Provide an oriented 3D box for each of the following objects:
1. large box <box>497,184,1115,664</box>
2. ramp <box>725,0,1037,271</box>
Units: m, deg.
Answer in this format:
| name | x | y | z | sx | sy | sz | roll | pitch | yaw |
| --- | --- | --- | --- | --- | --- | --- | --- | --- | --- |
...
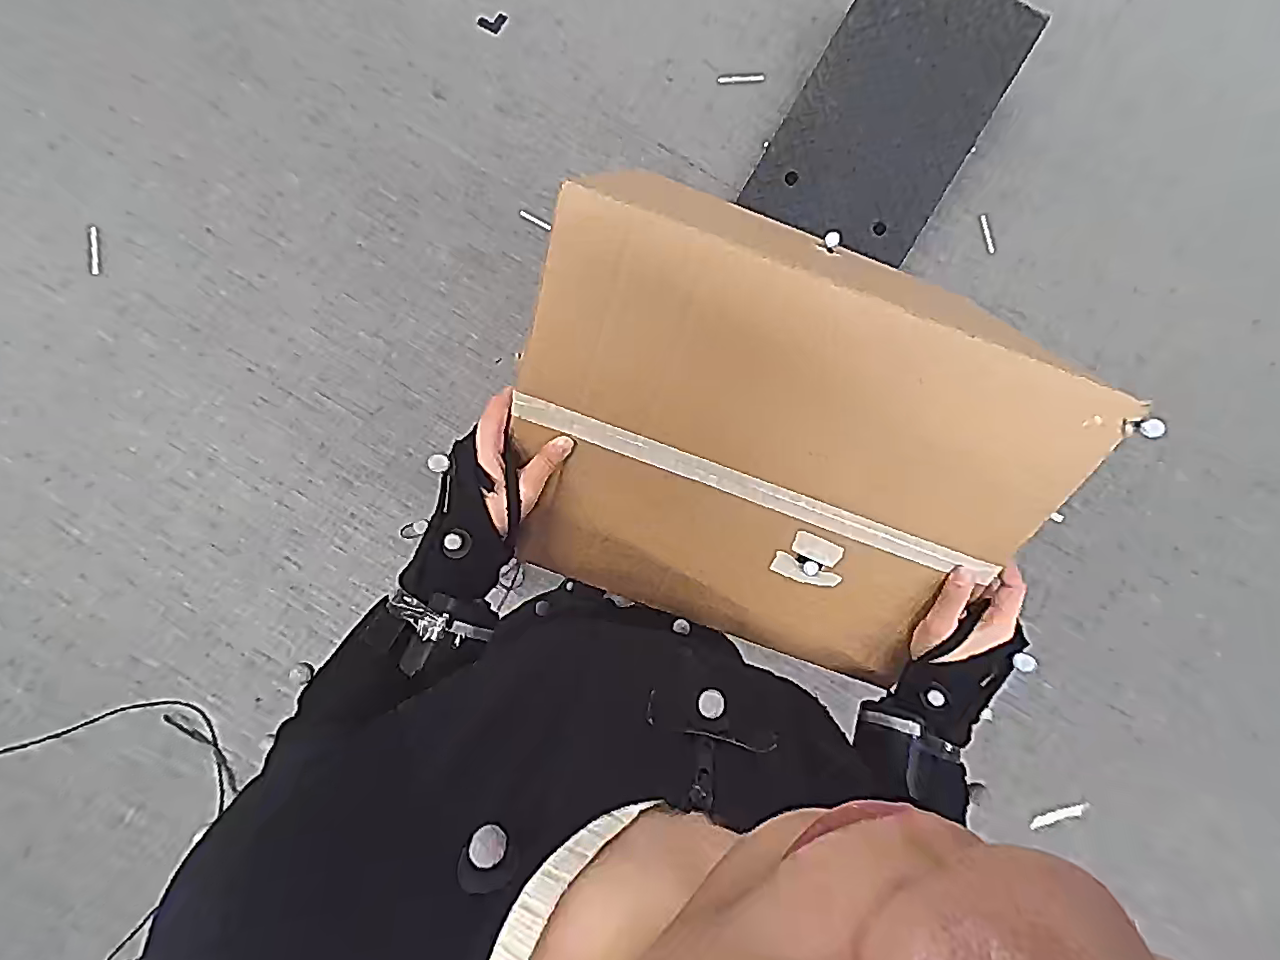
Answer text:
| name | x | y | z | sx | sy | sz | roll | pitch | yaw |
| --- | --- | --- | --- | --- | --- | --- | --- | --- | --- |
| large box | 0.111 | -0.077 | 0.563 | 0.408 | 0.320 | 0.320 | 19 | 123 | -3 |
| ramp | 0.638 | -0.955 | 1.517 | 0.509 | 0.206 | 0.991 | 29 | 82 | 0 |
